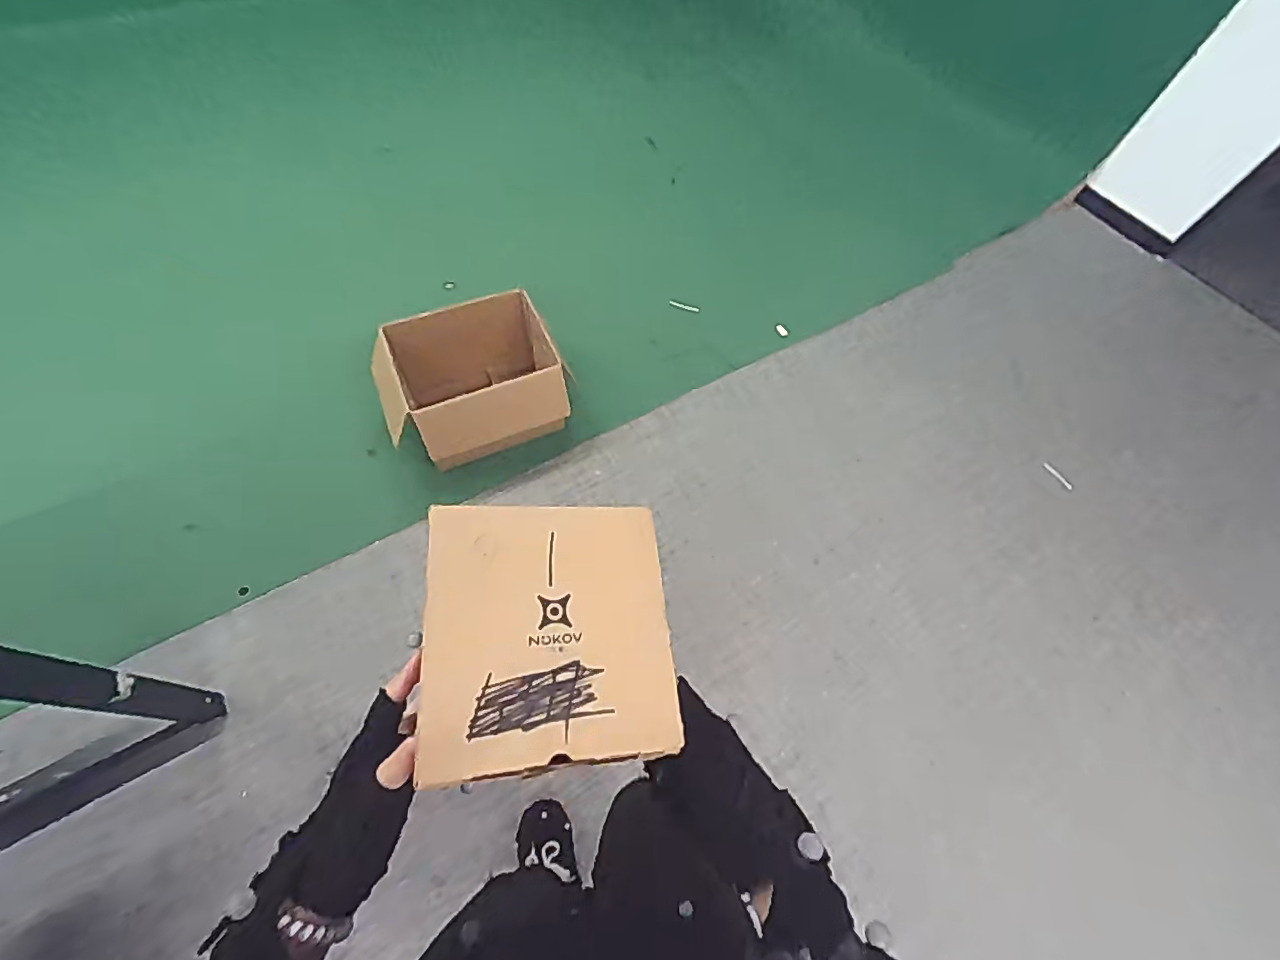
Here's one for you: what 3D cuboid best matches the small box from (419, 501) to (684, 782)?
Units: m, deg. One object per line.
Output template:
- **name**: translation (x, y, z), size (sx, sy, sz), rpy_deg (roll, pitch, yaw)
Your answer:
- **small box**: translation (-0.078, 0.130, 0.433), size (0.168, 0.176, 0.179), rpy_deg (2, 63, -18)
